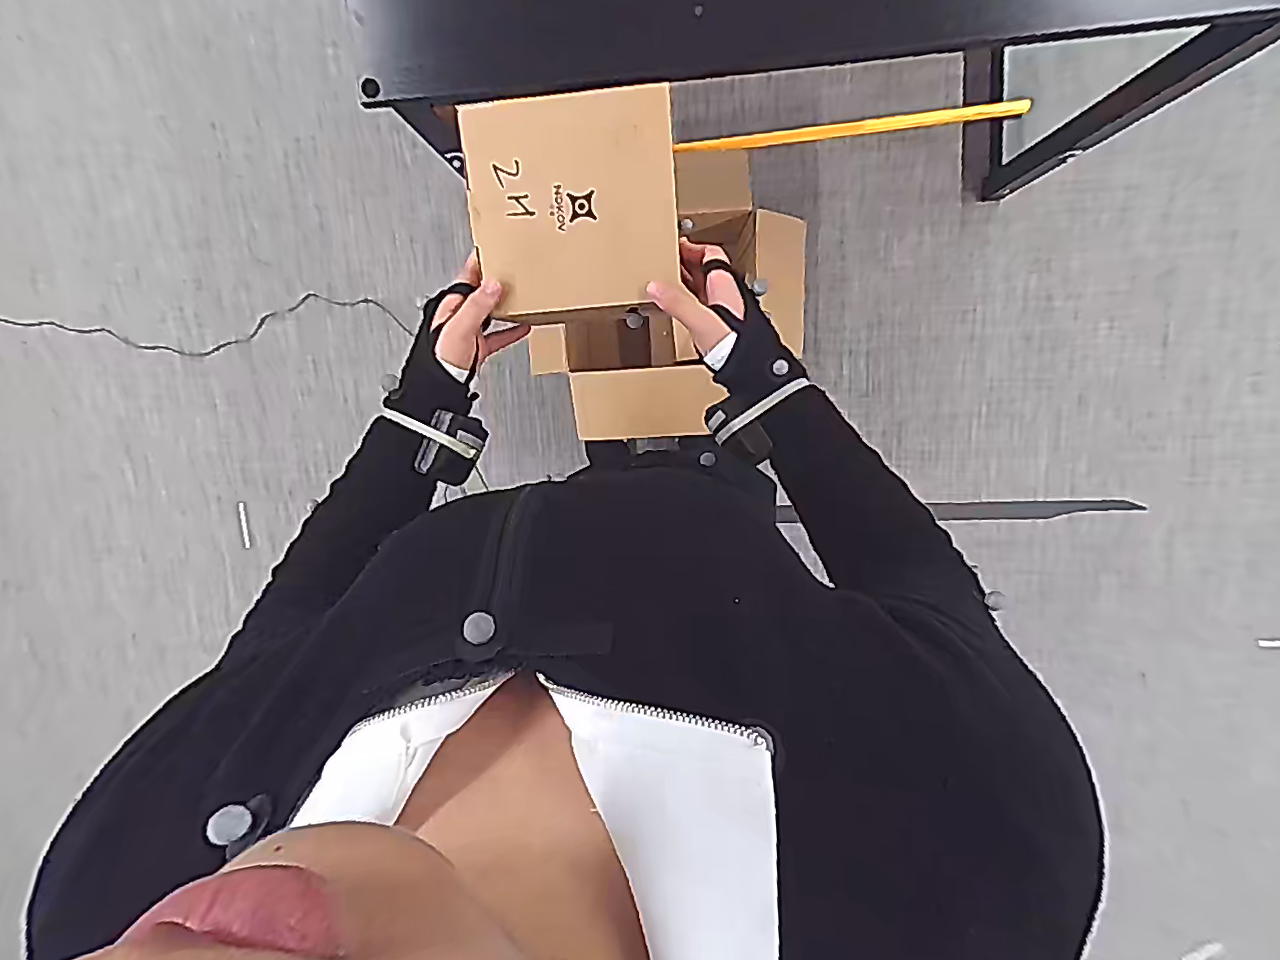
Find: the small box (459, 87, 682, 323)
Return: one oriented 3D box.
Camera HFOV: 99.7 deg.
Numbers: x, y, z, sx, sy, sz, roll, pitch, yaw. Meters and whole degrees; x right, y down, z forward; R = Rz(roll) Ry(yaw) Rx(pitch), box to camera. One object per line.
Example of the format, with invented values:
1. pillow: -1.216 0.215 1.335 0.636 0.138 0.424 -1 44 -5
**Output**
1. small box: -0.053 -0.248 0.531 0.179 0.176 0.168 -4 103 4
